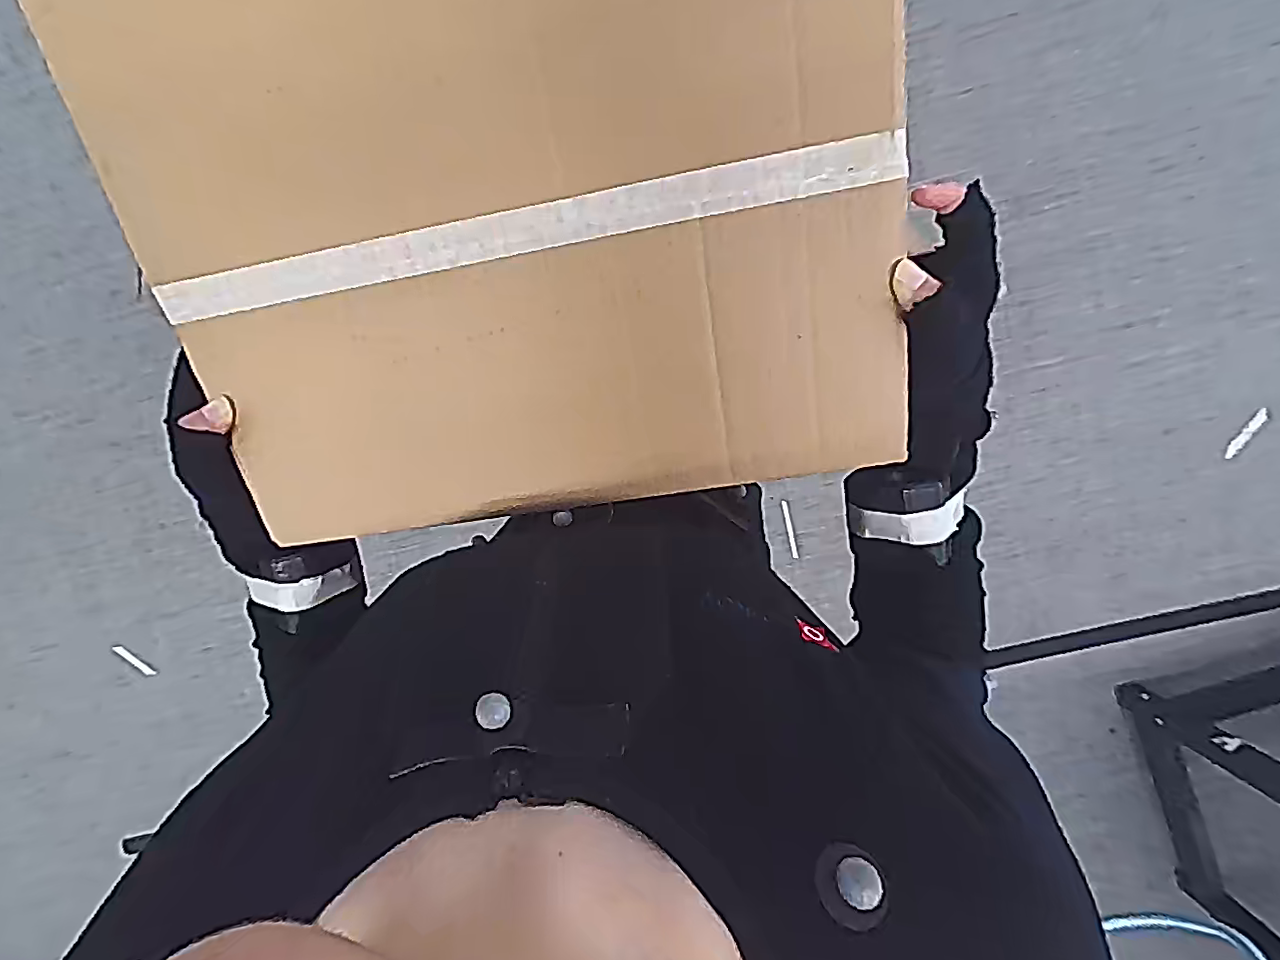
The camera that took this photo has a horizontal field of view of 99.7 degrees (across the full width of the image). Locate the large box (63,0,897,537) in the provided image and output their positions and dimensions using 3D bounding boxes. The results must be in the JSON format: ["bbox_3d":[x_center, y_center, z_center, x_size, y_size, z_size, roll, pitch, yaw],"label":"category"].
[{"bbox_3d":[-0.062,-0.183,0.434,0.408,0.320,0.320,-8,111,7],"label":"large box"}]
